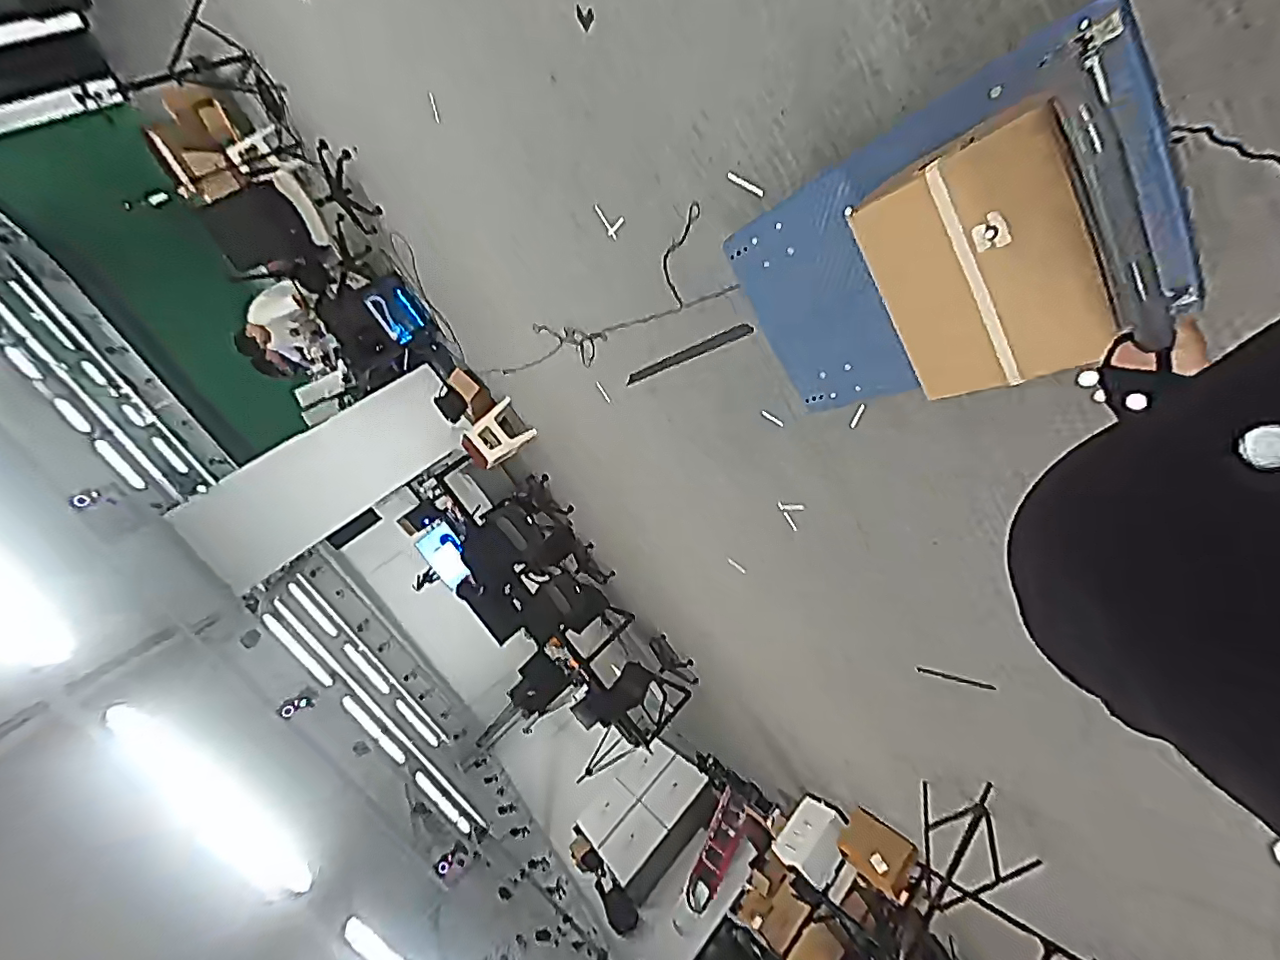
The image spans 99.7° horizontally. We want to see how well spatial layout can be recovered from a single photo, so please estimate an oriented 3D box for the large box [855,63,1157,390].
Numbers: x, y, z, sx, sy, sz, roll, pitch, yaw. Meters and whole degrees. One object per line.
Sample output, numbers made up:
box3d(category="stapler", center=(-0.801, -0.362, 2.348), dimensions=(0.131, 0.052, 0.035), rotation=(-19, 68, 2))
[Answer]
box3d(category="large box", center=(0.679, -0.442, 0.998), dimensions=(0.320, 0.320, 0.408), rotation=(-13, 115, 53))
